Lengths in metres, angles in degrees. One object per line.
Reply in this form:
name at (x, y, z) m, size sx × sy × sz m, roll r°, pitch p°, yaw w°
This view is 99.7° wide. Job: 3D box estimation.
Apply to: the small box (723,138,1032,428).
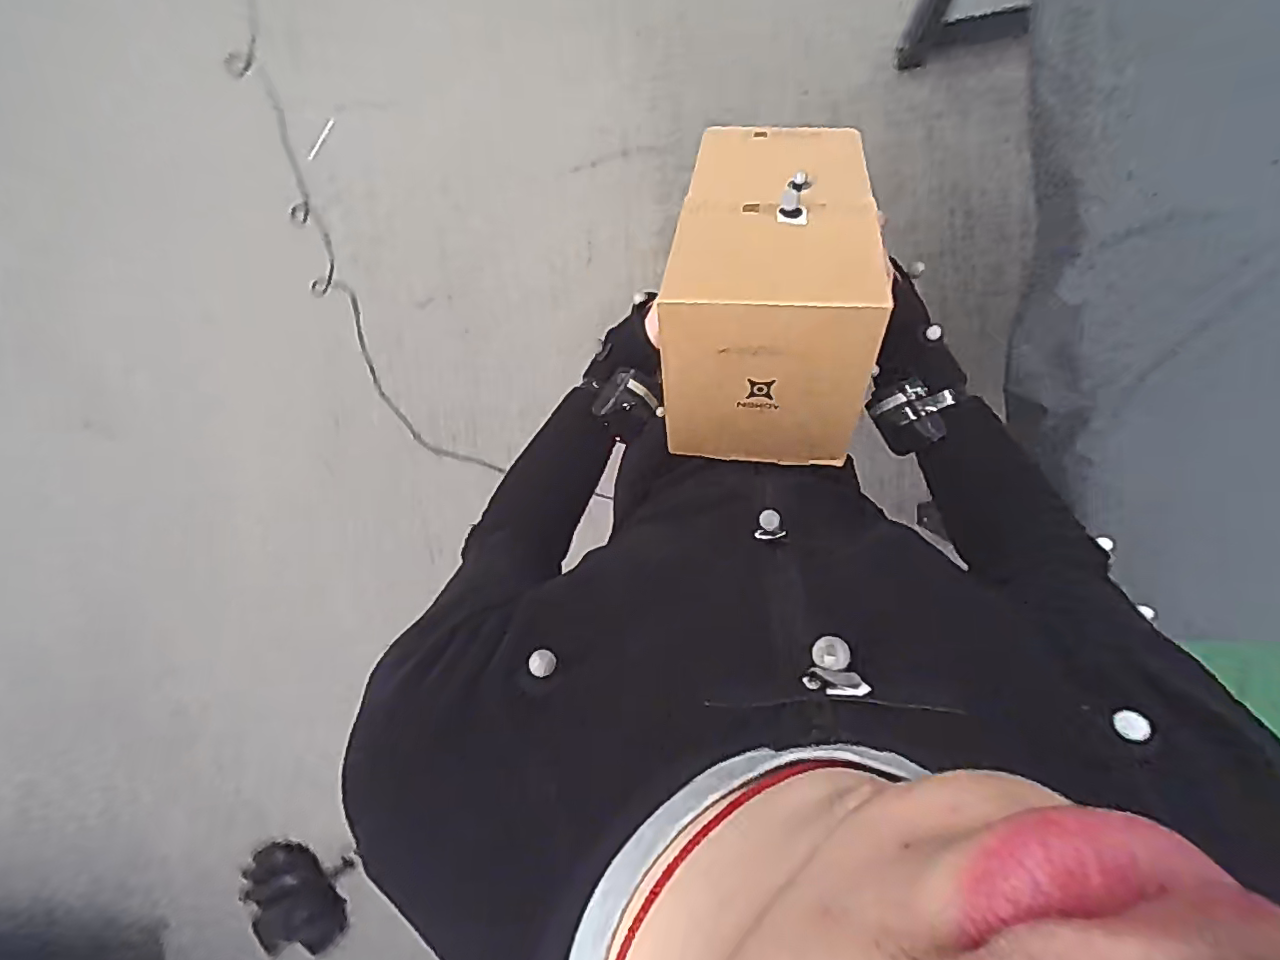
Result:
small box at (0.207, -0.183, 0.508) m, size 0.179 × 0.168 × 0.176 m, roll 17°, pitch 126°, yaw -19°
